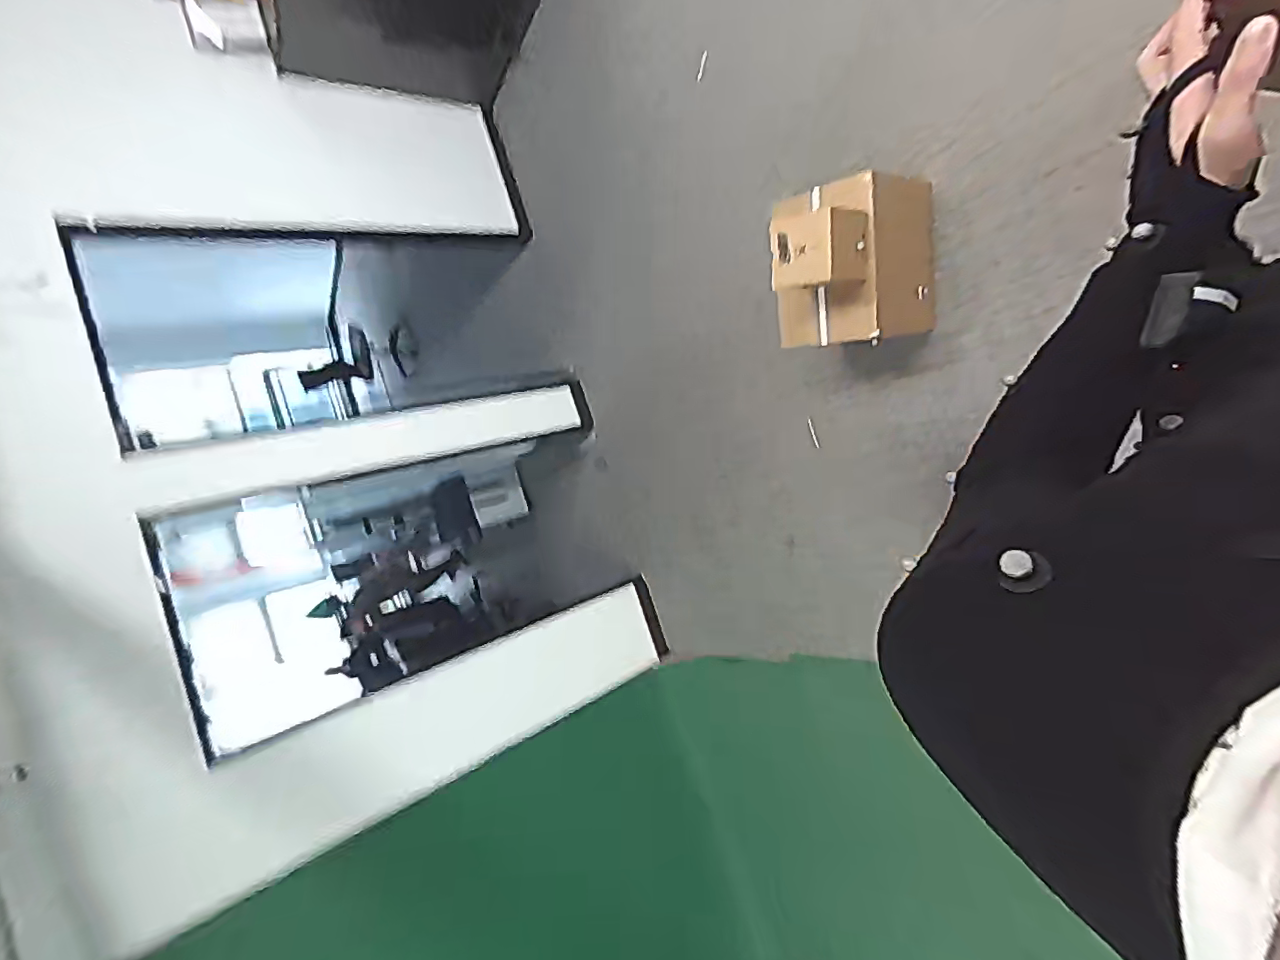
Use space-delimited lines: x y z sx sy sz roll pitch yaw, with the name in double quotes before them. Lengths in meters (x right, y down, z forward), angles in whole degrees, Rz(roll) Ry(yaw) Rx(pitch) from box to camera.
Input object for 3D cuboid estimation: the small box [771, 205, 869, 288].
"small box" 0.457 -0.585 1.375 0.179 0.176 0.168 11 113 50
